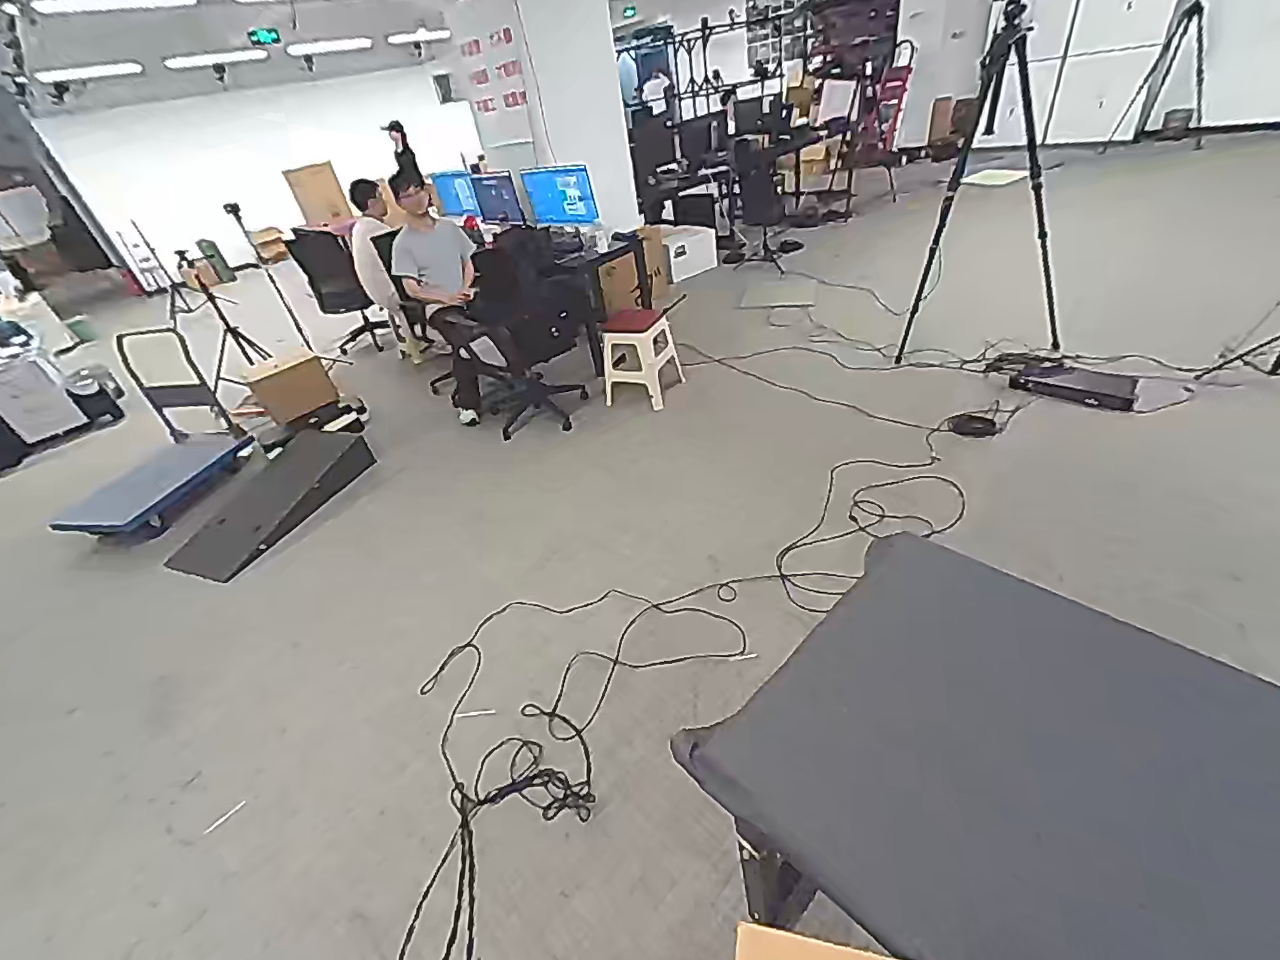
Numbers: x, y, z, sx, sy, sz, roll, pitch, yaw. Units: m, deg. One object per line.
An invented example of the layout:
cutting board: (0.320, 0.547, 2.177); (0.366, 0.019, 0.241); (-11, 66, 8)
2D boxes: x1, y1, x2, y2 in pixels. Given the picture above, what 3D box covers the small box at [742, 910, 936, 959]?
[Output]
small box: (0.146, 0.441, 0.367); (0.168, 0.176, 0.179); (2, 40, 17)
